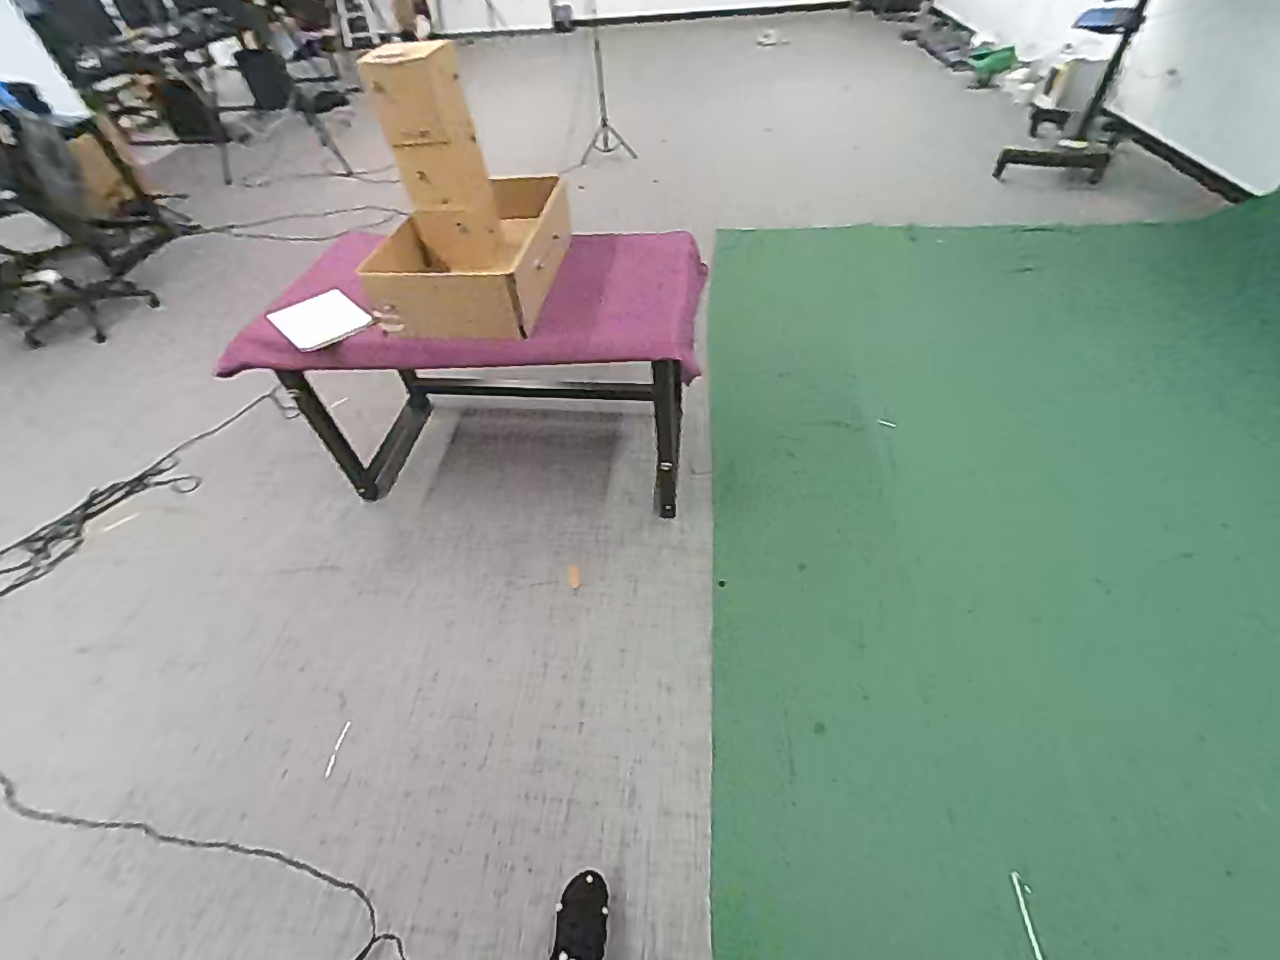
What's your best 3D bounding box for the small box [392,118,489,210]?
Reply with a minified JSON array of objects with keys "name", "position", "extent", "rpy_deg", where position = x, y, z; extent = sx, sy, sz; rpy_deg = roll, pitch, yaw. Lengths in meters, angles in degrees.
[{"name":"small box","position":[-0.523,-0.843,1.450],"extent":[0.168,0.176,0.179],"rpy_deg":[4,50,9]}]
